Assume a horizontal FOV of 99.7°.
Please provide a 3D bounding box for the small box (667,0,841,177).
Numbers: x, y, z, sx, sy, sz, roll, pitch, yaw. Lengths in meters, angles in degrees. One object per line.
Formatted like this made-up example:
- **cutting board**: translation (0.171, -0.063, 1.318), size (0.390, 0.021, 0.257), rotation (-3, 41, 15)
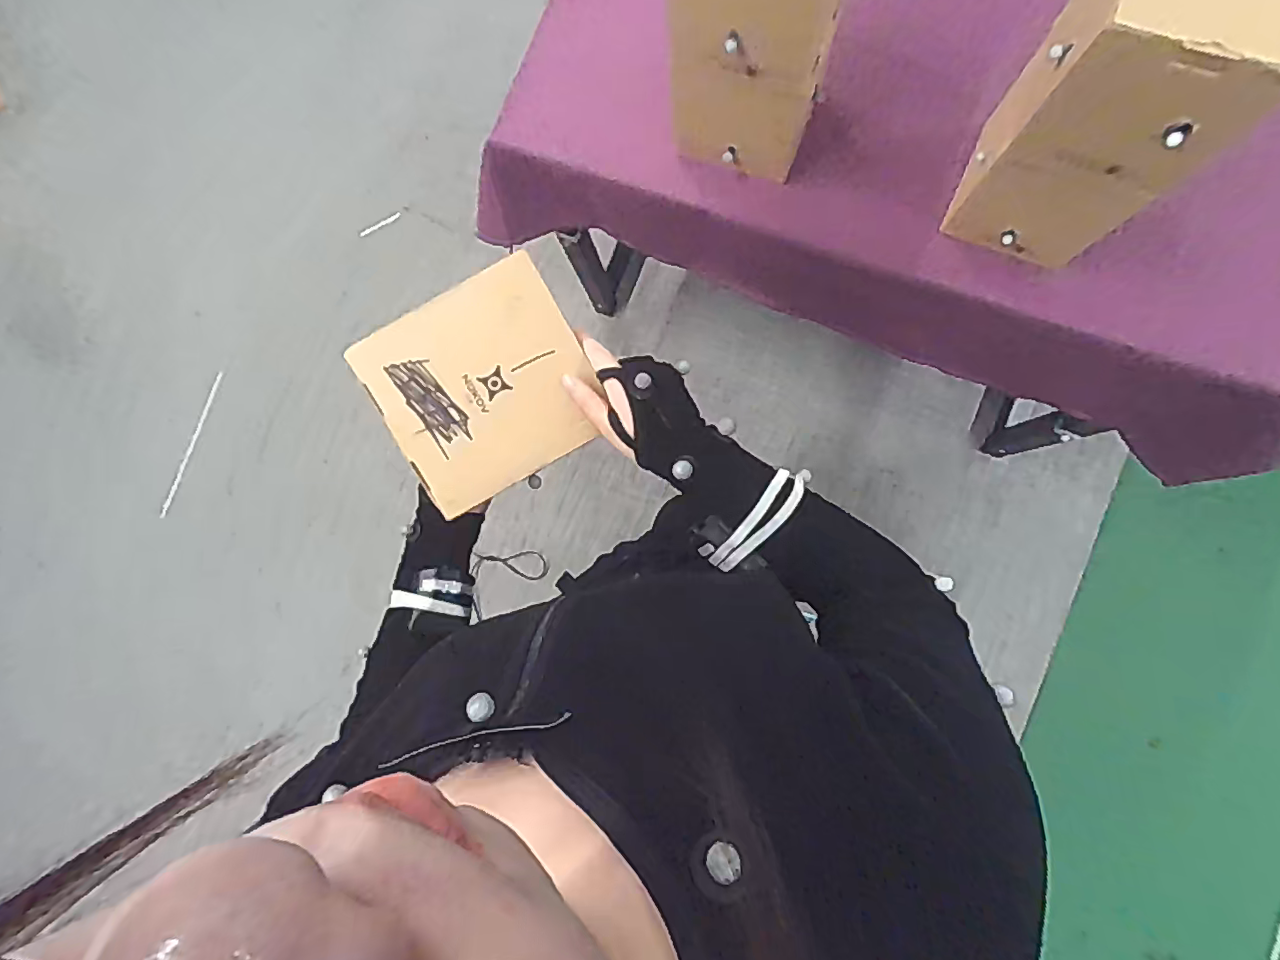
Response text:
- **small box**: translation (0.148, -0.555, 0.744), size (0.179, 0.176, 0.168), rotation (20, 87, 7)

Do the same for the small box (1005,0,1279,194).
- **small box**: translation (0.502, -0.422, 0.529), size (0.168, 0.176, 0.179), rotation (22, 88, 7)

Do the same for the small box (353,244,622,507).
- **small box**: translation (-0.129, -0.093, 0.533), size (0.179, 0.176, 0.168), rotation (-29, 97, 0)

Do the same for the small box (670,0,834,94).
- **small box**: translation (0.132, -0.573, 0.580), size (0.168, 0.176, 0.179), rotation (22, 88, 8)
